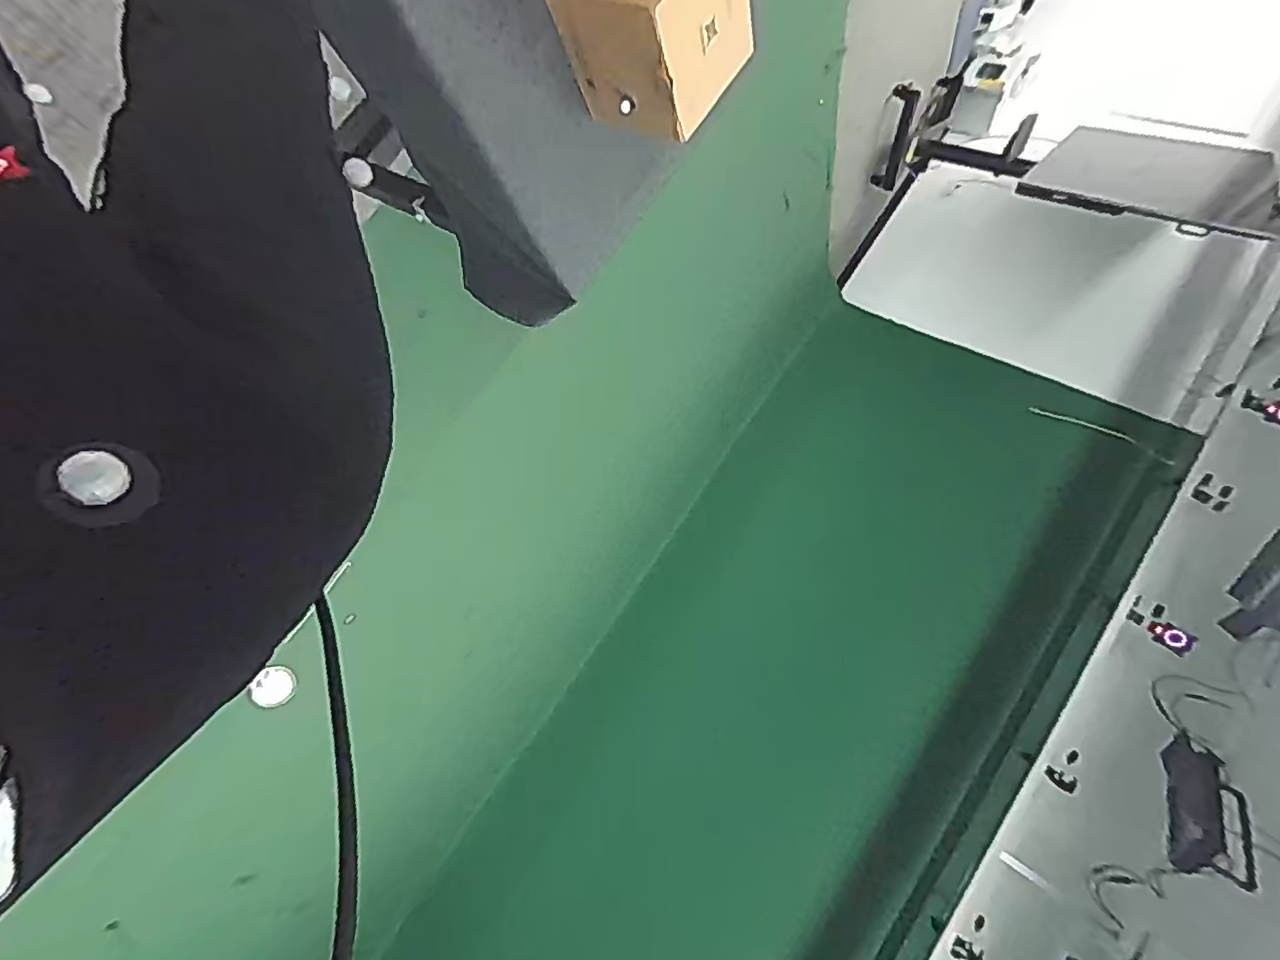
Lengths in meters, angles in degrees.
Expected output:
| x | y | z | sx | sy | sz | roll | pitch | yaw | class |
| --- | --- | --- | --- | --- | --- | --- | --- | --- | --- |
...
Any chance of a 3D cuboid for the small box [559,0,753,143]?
| x | y | z | sx | sy | sz | roll | pitch | yaw | class |
| --- | --- | --- | --- | --- | --- | --- | --- | --- | --- |
| 0.019 | -0.575 | 0.682 | 0.179 | 0.176 | 0.168 | -57 | 157 | -7 | small box |
